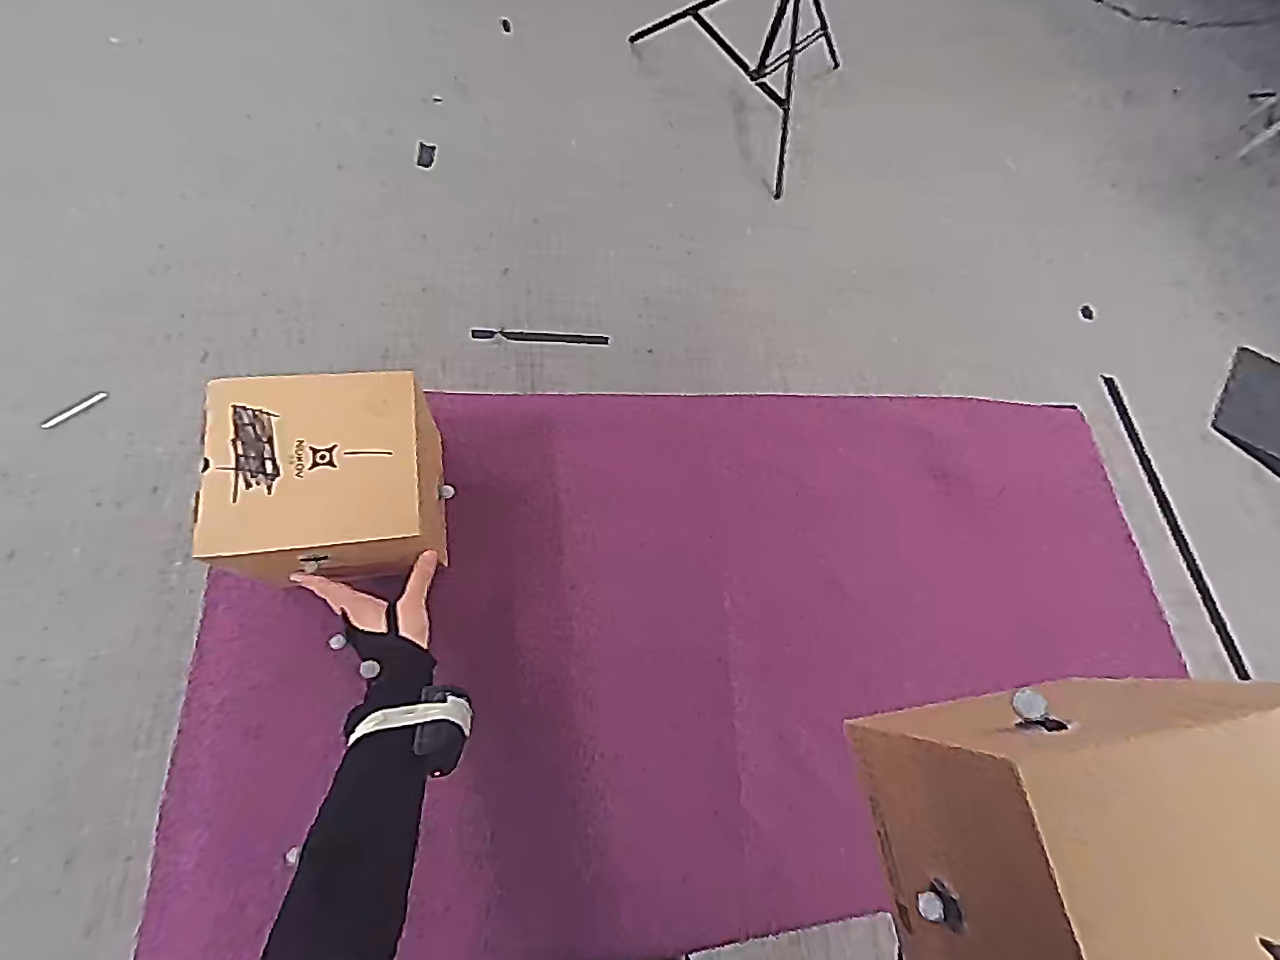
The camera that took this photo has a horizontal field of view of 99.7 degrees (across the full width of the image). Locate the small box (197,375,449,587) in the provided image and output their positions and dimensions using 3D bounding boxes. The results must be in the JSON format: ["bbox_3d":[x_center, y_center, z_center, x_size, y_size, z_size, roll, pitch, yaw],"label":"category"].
[{"bbox_3d":[-0.301,0.009,0.553,0.179,0.176,0.168,-5,72,-14],"label":"small box"}]

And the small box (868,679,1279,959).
[{"bbox_3d":[0.240,0.200,0.273,0.179,0.176,0.168,-8,72,-6],"label":"small box"}]
